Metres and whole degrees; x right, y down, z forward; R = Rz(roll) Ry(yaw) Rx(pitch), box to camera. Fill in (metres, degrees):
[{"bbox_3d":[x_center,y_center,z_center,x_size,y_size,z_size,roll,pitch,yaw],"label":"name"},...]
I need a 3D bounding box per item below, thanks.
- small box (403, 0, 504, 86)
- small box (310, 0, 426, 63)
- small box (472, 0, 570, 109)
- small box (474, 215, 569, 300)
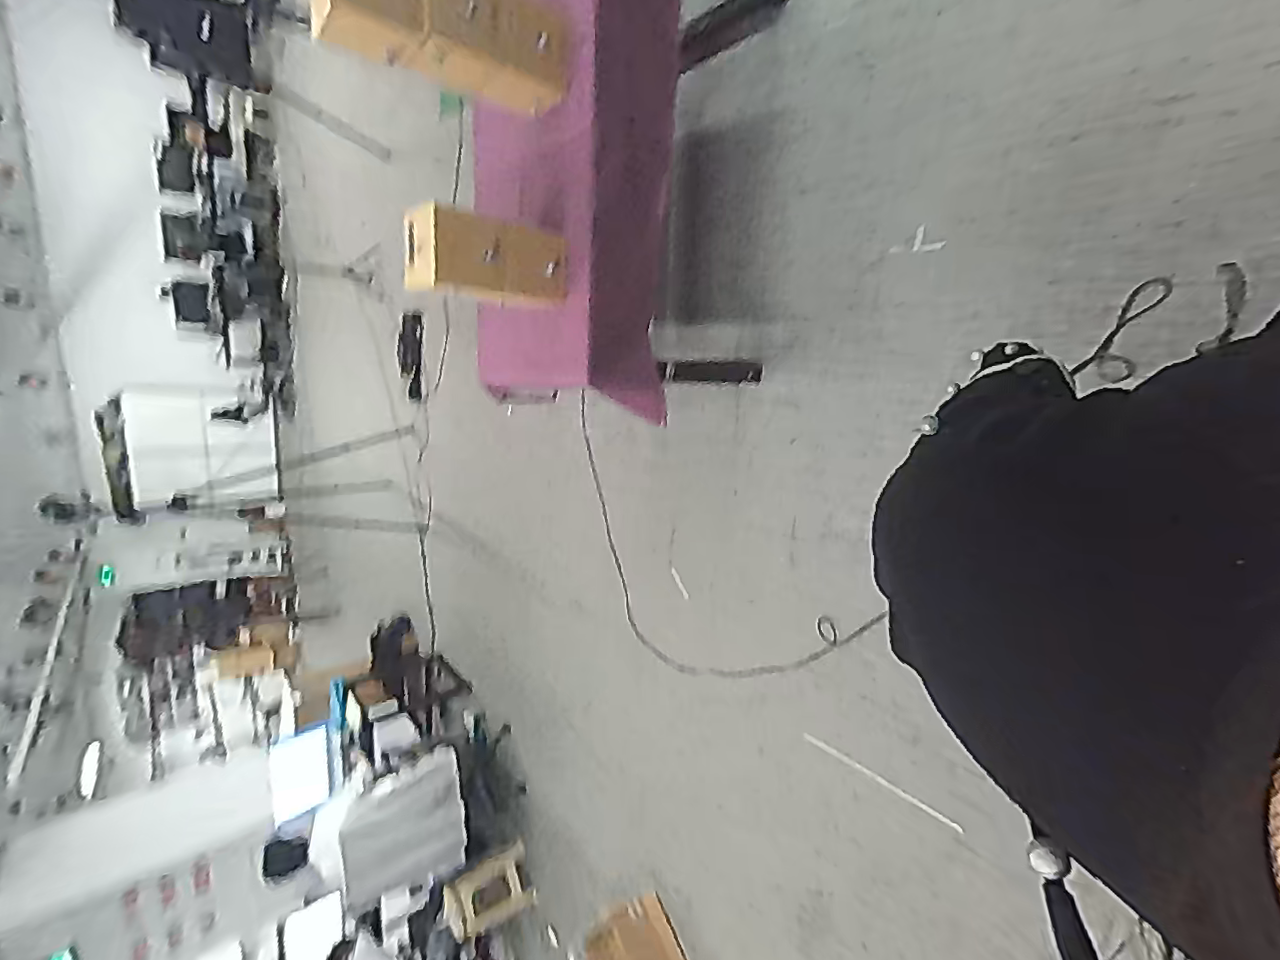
[{"bbox_3d":[-0.400,-0.980,1.146,0.179,0.176,0.168,15,107,47],"label":"small box"},{"bbox_3d":[-0.526,-0.960,1.044,0.168,0.176,0.179,16,108,48],"label":"small box"},{"bbox_3d":[-0.277,-1.001,1.254,0.179,0.176,0.168,15,107,46],"label":"small box"},{"bbox_3d":[-0.297,-0.545,1.349,0.179,0.176,0.168,17,109,45],"label":"small box"}]
